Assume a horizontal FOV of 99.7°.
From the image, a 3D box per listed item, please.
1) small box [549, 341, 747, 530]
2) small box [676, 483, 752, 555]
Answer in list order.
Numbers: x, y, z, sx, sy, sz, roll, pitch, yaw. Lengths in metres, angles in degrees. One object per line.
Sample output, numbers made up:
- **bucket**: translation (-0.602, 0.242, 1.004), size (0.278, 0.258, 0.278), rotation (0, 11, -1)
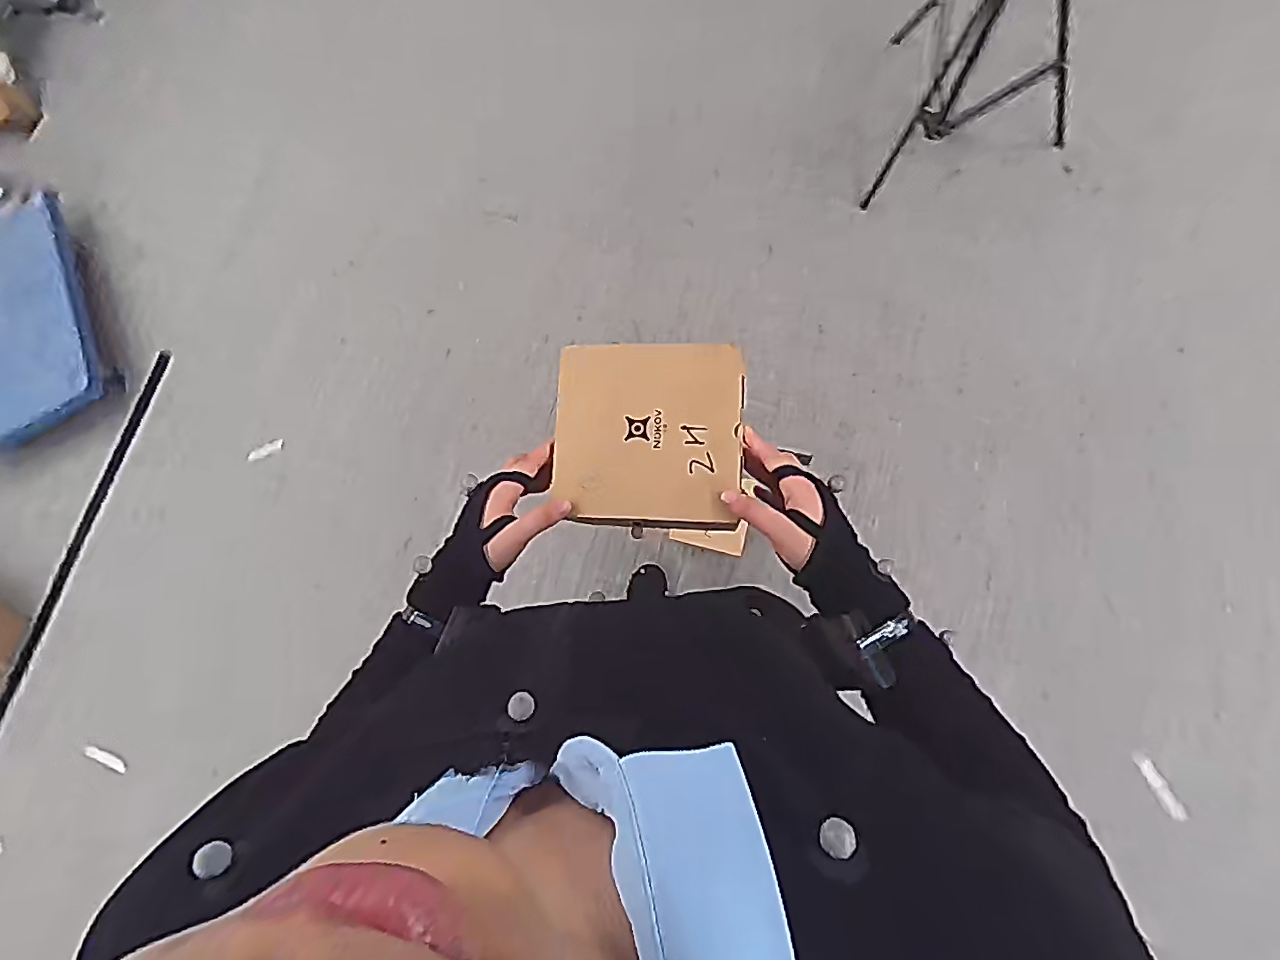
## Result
- **small box**: translation (0.018, -0.035, 0.561), size (0.179, 0.176, 0.168), rotation (1, 84, 8)
- **small box**: translation (0.195, 0.095, 1.436), size (0.168, 0.176, 0.179), rotation (10, 81, 10)
